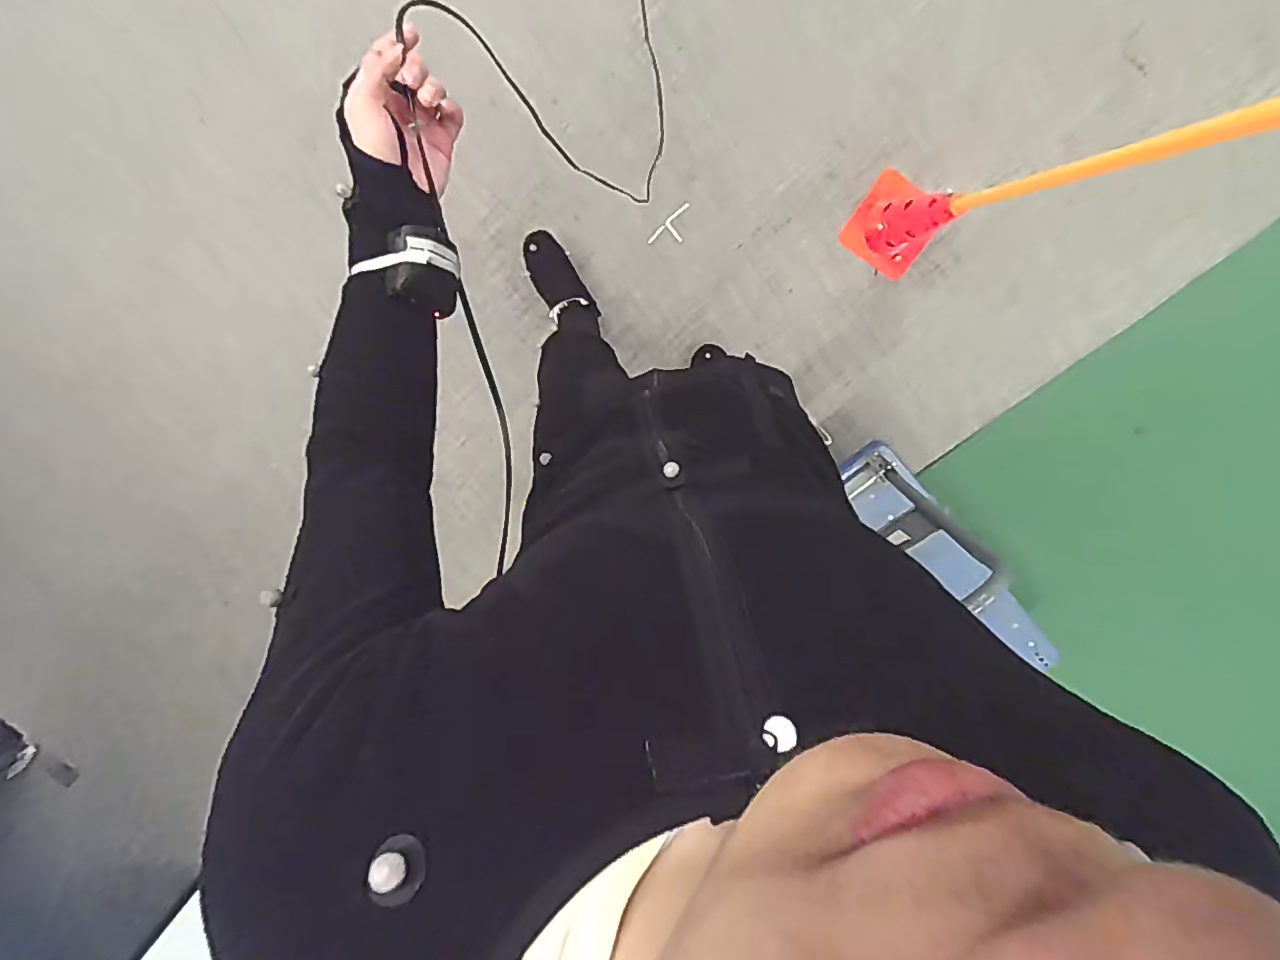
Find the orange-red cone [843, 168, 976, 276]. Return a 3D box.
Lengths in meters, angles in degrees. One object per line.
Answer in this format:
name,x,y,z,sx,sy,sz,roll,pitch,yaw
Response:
orange-red cone,0.630,-0.591,1.196,0.198,0.360,0.199,33,107,-8
